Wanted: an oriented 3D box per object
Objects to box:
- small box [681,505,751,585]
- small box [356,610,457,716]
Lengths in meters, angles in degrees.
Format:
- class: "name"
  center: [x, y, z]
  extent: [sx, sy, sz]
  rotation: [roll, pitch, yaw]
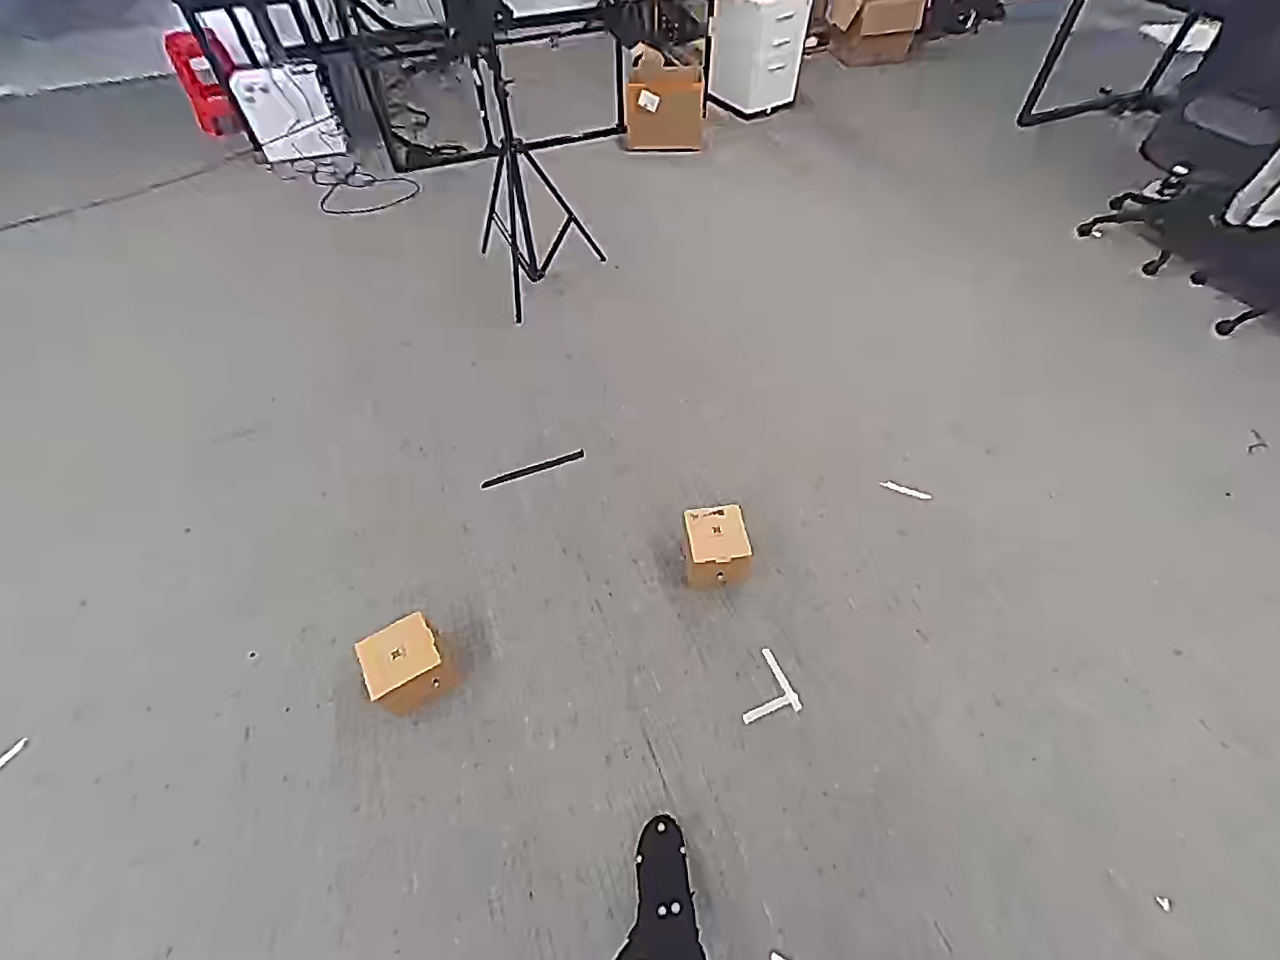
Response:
- class: "small box"
  center: [0.217, 0.197, 1.583]
  extent: [0.168, 0.176, 0.179]
  rotation: [-6, 54, -4]
- class: "small box"
  center: [-0.592, 0.474, 1.394]
  extent: [0.179, 0.176, 0.168]
  rotation: [-28, 57, -17]
